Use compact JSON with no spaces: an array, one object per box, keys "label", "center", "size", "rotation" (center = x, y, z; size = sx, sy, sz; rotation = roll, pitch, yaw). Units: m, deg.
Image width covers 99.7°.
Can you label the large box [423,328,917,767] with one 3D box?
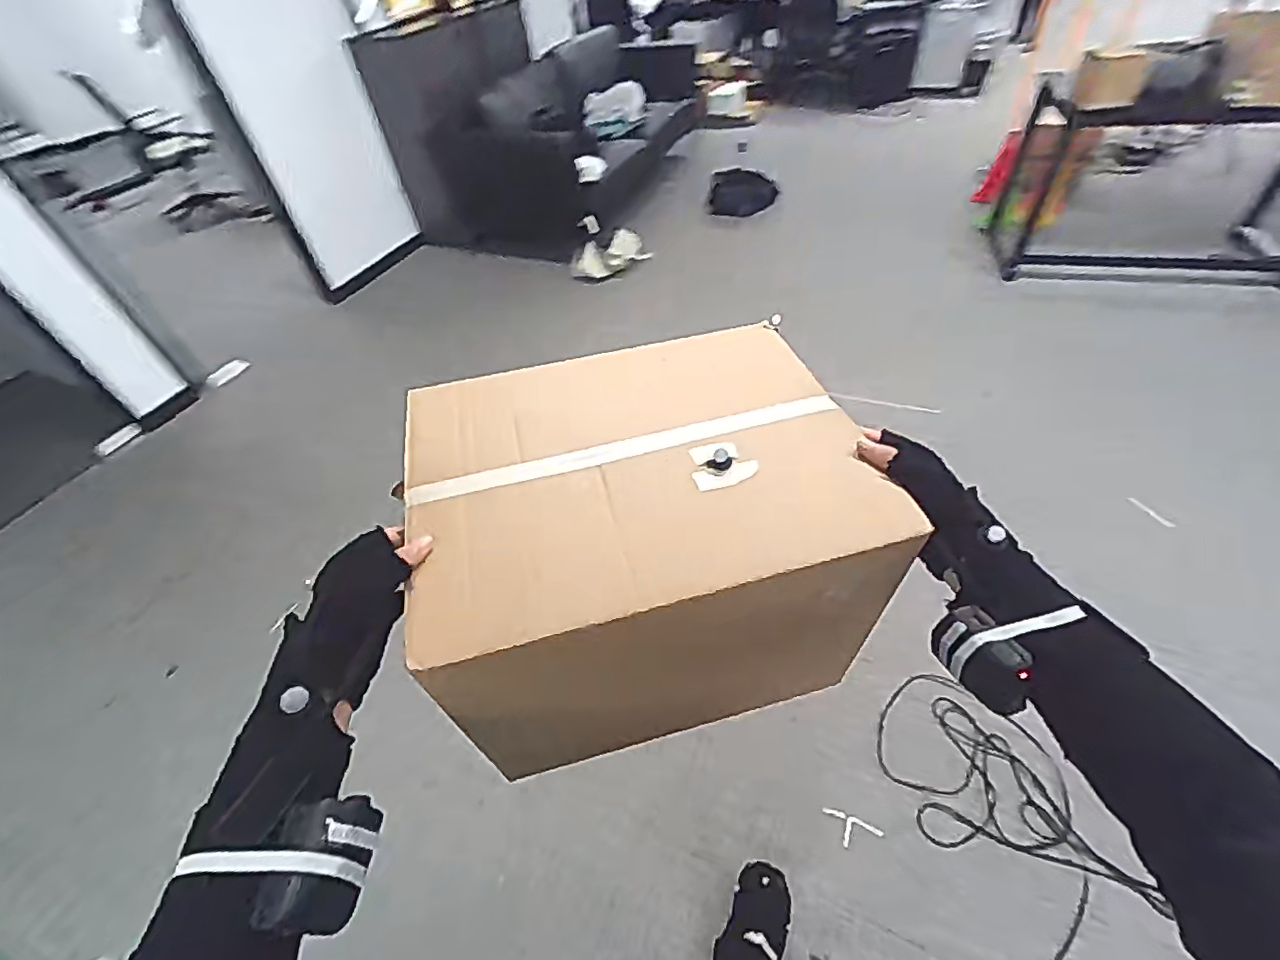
[{"label":"large box","center":[0.005,0.072,0.617],"size":[0.408,0.320,0.320],"rotation":[-13,50,-8]}]
